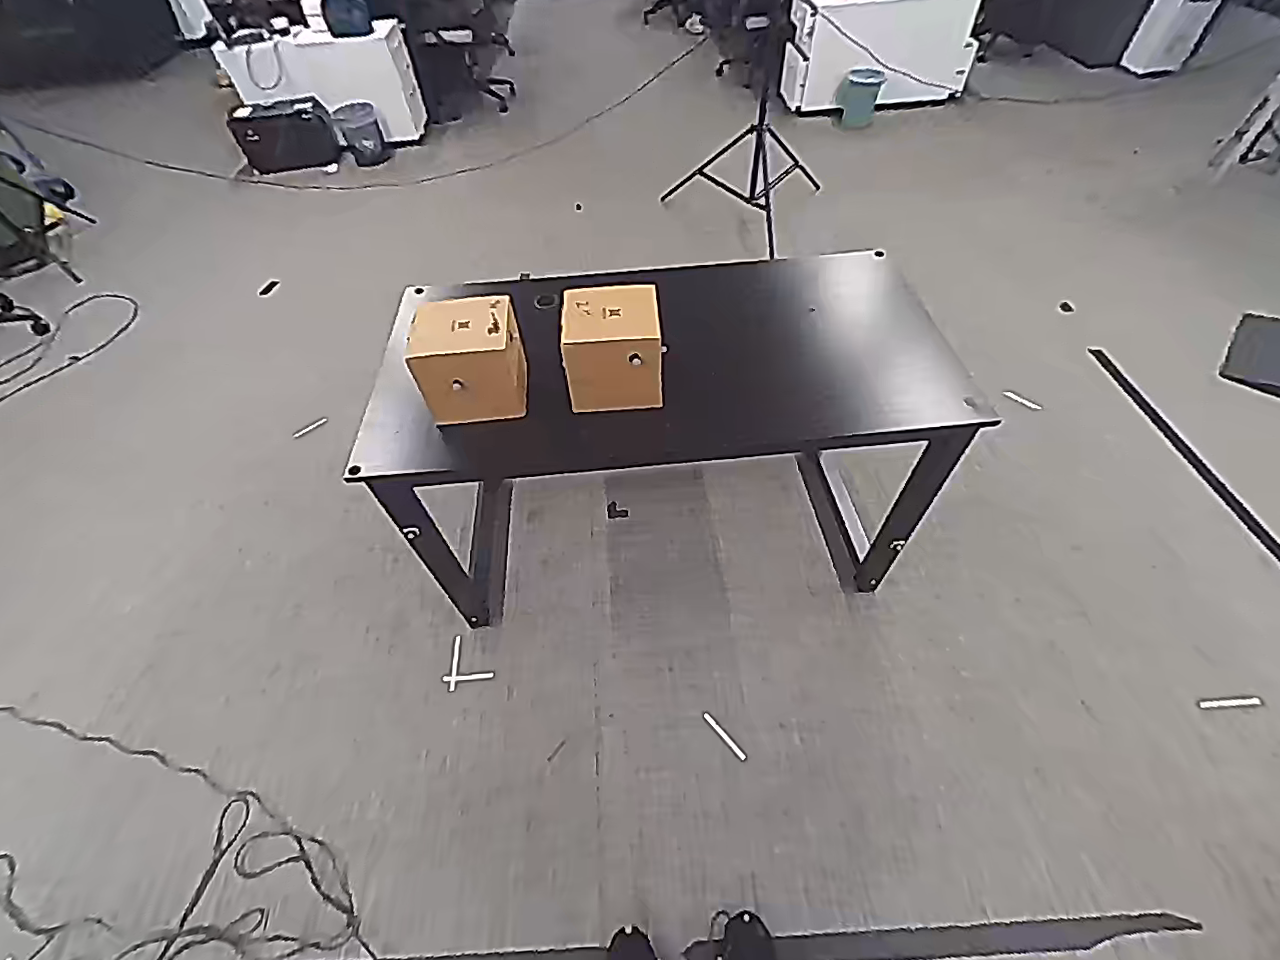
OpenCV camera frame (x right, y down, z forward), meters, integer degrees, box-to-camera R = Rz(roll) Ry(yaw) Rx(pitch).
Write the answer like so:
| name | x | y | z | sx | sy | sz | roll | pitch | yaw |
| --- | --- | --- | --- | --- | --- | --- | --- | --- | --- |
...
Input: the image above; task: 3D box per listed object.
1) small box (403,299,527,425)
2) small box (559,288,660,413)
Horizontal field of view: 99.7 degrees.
| name | x | y | z | sx | sy | sz | roll | pitch | yaw |
| --- | --- | --- | --- | --- | --- | --- | --- | --- | --- |
| small box | -0.326 | -0.222 | 1.041 | 0.179 | 0.176 | 0.168 | -7 | 52 | -2 |
| small box | -0.053 | -0.247 | 1.043 | 0.179 | 0.176 | 0.168 | -4 | 51 | 1 |
